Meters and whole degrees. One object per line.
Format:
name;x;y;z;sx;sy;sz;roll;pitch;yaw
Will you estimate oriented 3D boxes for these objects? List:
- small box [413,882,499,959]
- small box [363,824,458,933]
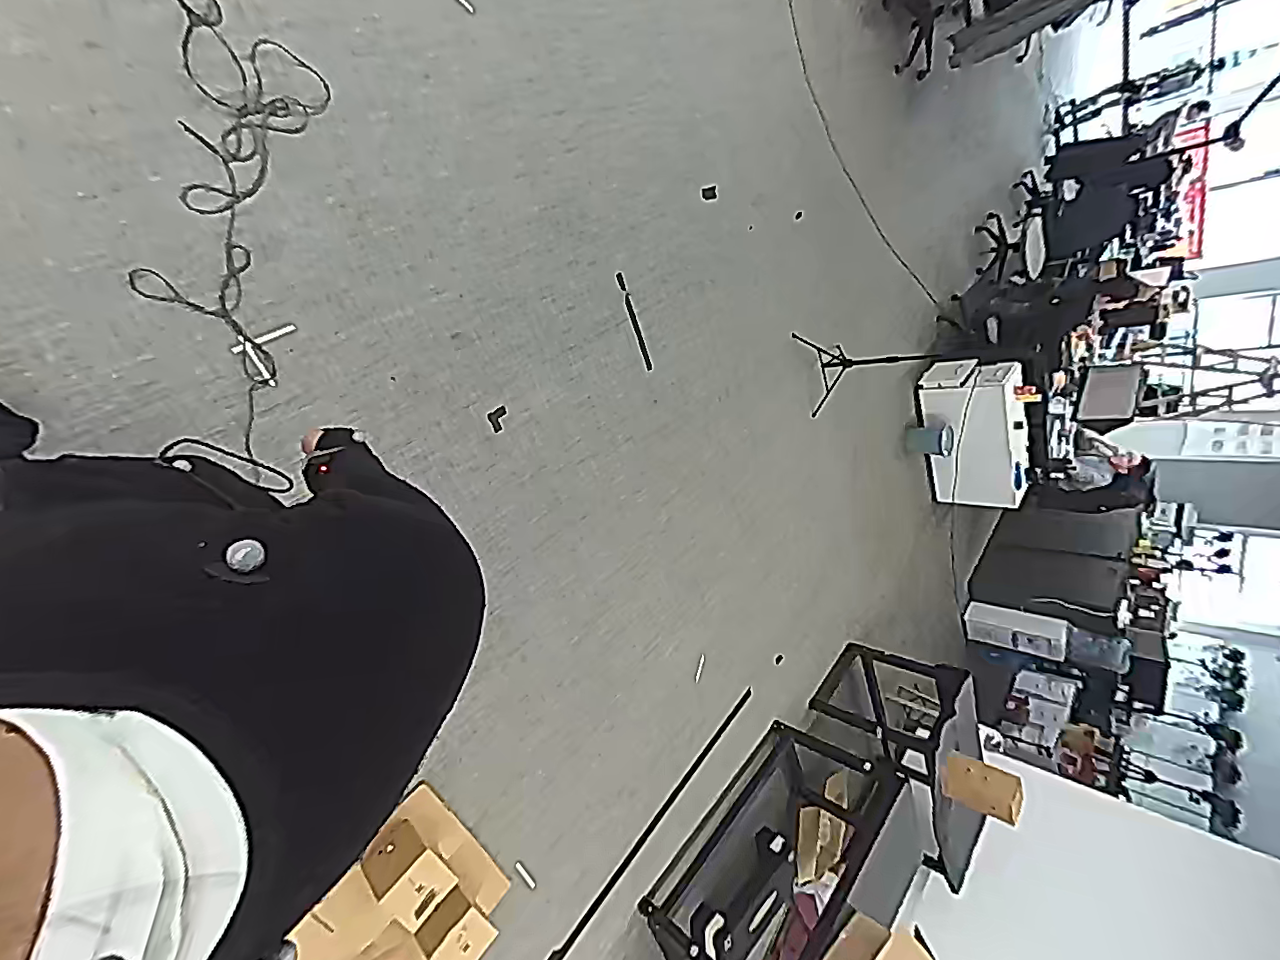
small box;-0.585;1.413;1.700;0.168;0.176;0.179;-42;119;-34
small box;-0.678;1.164;1.594;0.168;0.176;0.179;-42;119;-33
